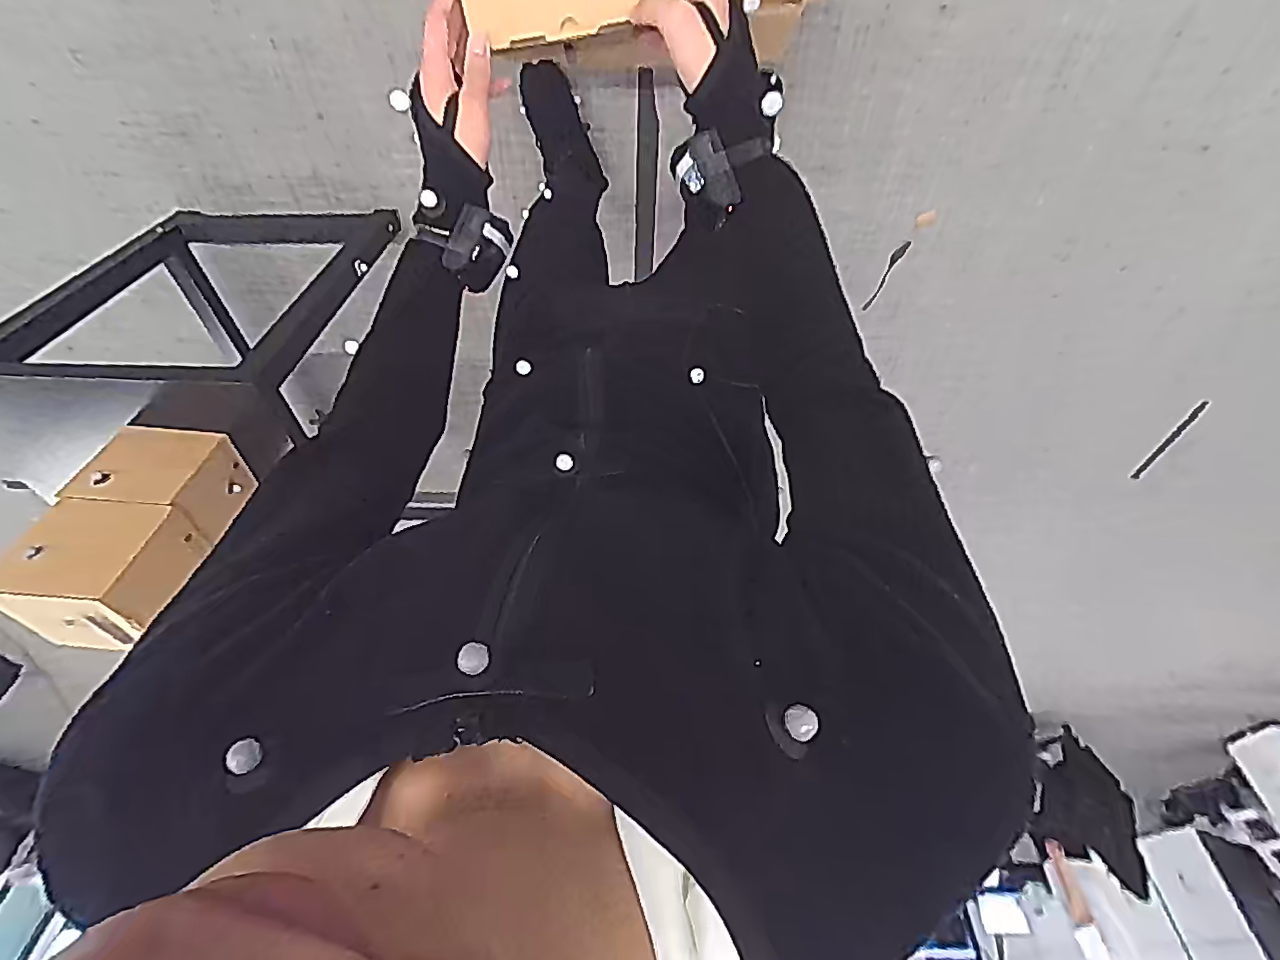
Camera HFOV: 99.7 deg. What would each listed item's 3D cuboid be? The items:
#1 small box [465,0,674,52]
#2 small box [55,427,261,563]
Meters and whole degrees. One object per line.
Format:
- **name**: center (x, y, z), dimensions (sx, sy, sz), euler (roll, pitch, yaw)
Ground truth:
- **small box**: center (-0.064, -0.479, 0.446), dimensions (0.168, 0.176, 0.179), euler (-6, 126, 4)
- **small box**: center (-0.821, 0.024, 0.946), dimensions (0.179, 0.176, 0.168), euler (5, 138, -2)
